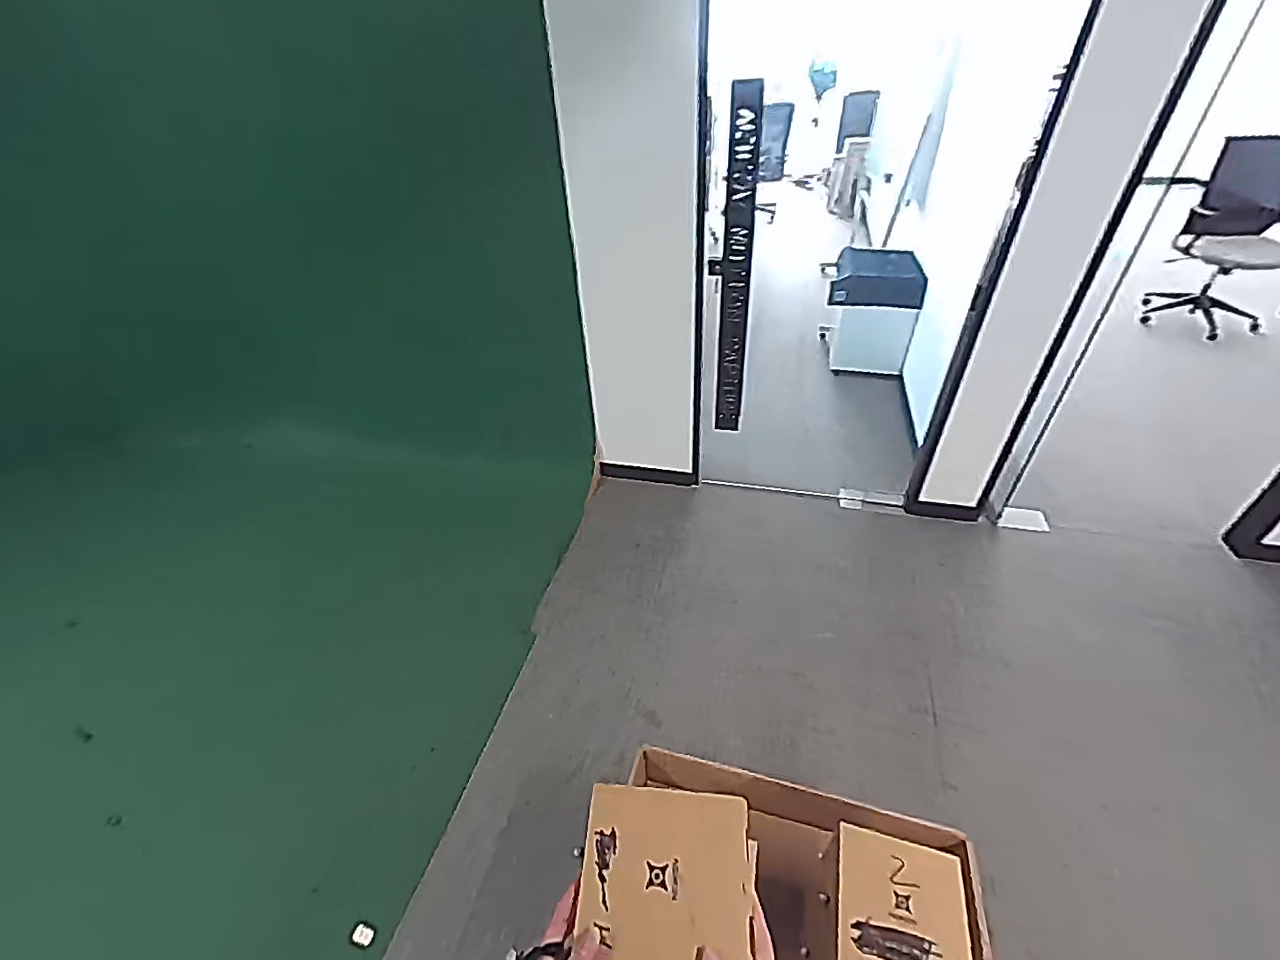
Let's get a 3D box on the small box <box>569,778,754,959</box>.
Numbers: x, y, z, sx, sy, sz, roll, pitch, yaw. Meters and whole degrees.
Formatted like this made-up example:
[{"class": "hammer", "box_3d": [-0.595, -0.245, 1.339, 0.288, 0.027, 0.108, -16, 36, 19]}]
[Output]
[{"class": "small box", "box_3d": [0.023, 0.458, 0.611, 0.179, 0.176, 0.168, 4, 46, 2]}]
